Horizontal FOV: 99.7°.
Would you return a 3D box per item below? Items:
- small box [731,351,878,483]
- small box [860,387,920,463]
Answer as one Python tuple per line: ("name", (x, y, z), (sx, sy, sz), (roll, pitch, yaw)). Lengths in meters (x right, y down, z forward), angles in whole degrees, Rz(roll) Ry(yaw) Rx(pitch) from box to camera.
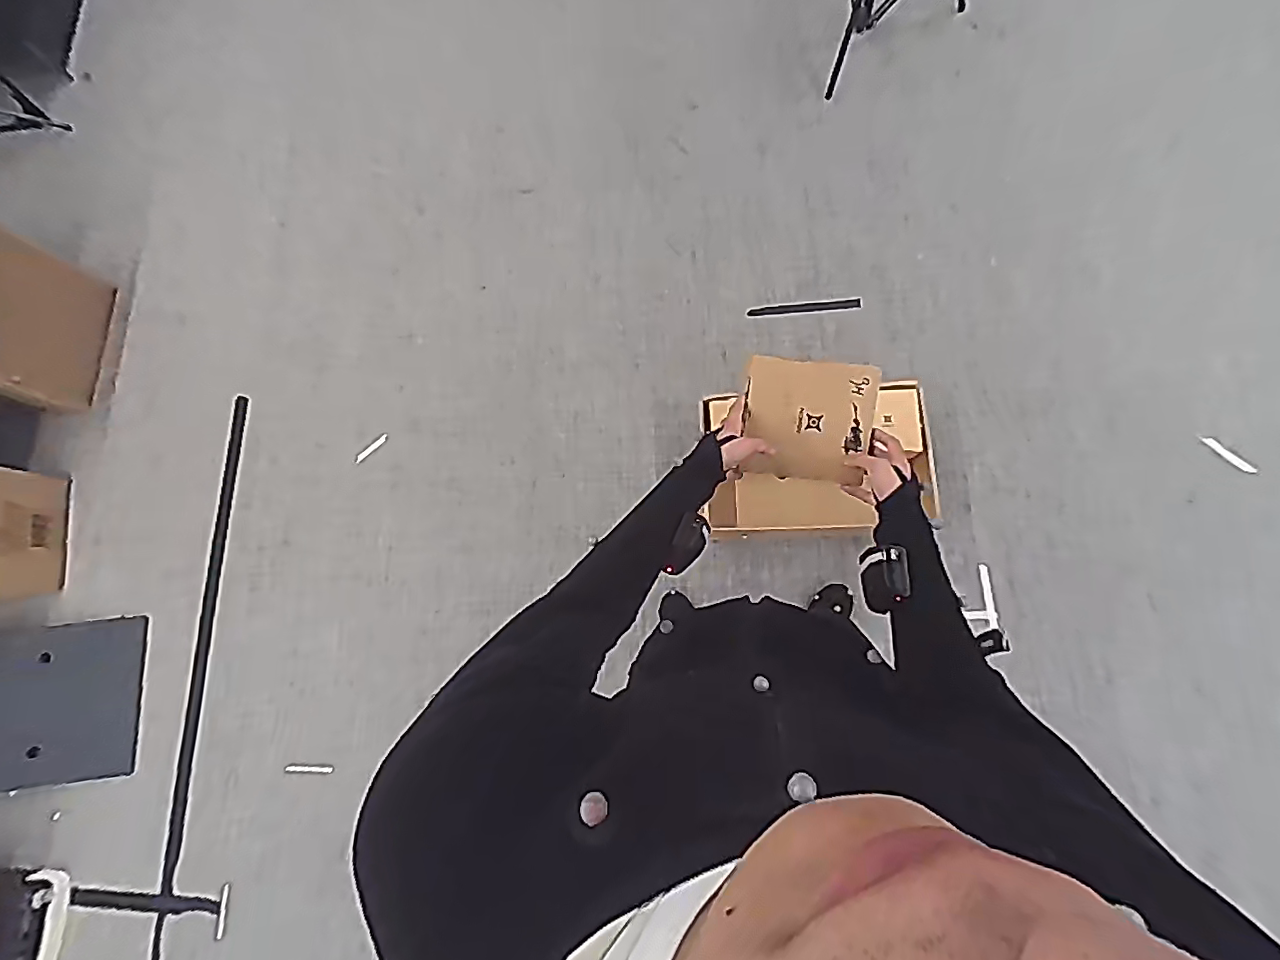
("small box", (0.237, -0.098, 0.824), (0.179, 0.176, 0.168), (7, 100, 8))
("small box", (0.672, -0.150, 1.535), (0.168, 0.176, 0.179), (-2, 81, 8))
